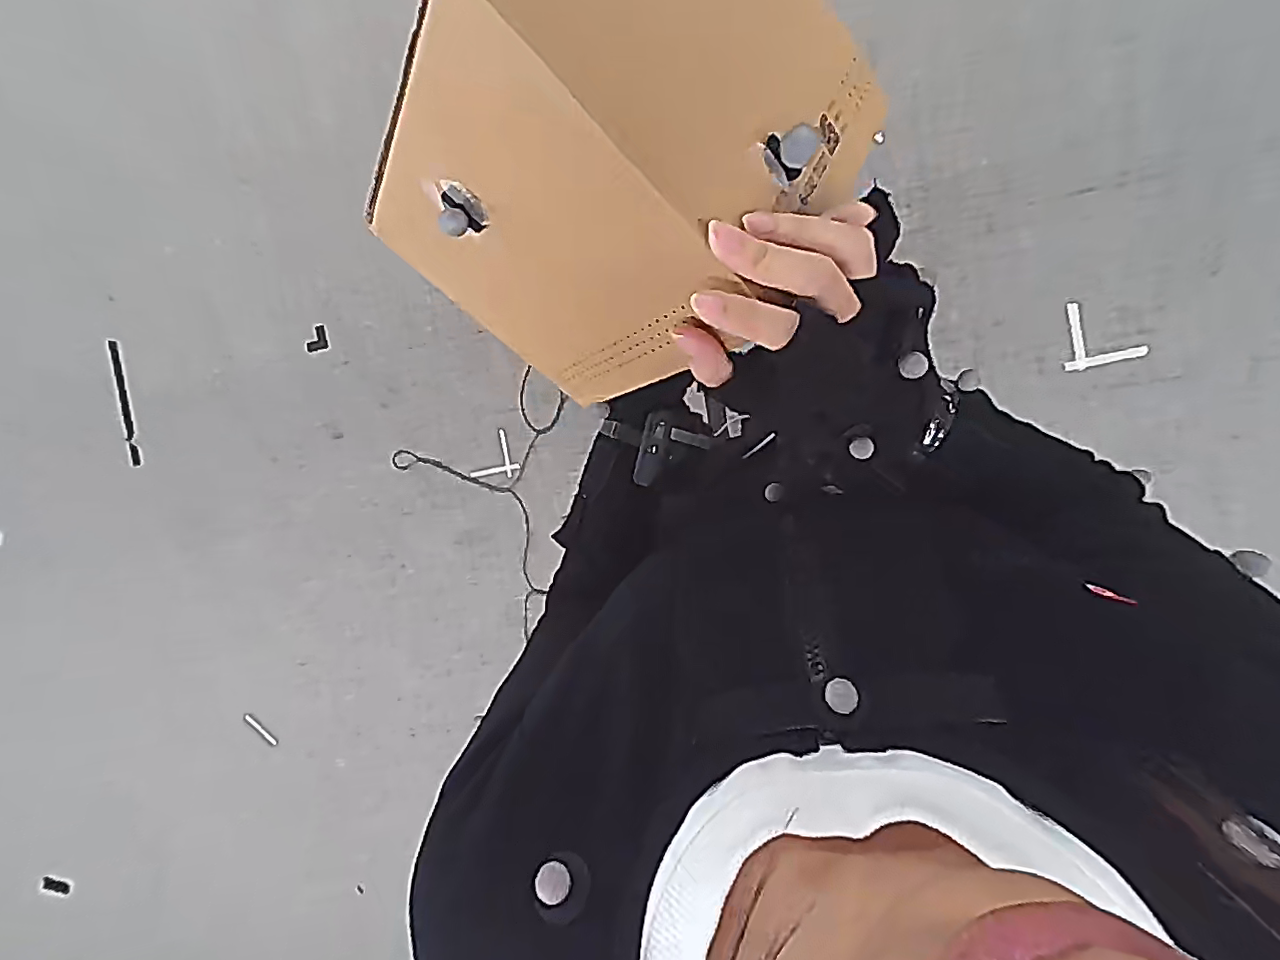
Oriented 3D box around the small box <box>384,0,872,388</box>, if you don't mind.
[{"bbox_3d":[-0.008,-0.174,0.305,0.176,0.179,0.168,38,66,-26],"label":"small box"}]
